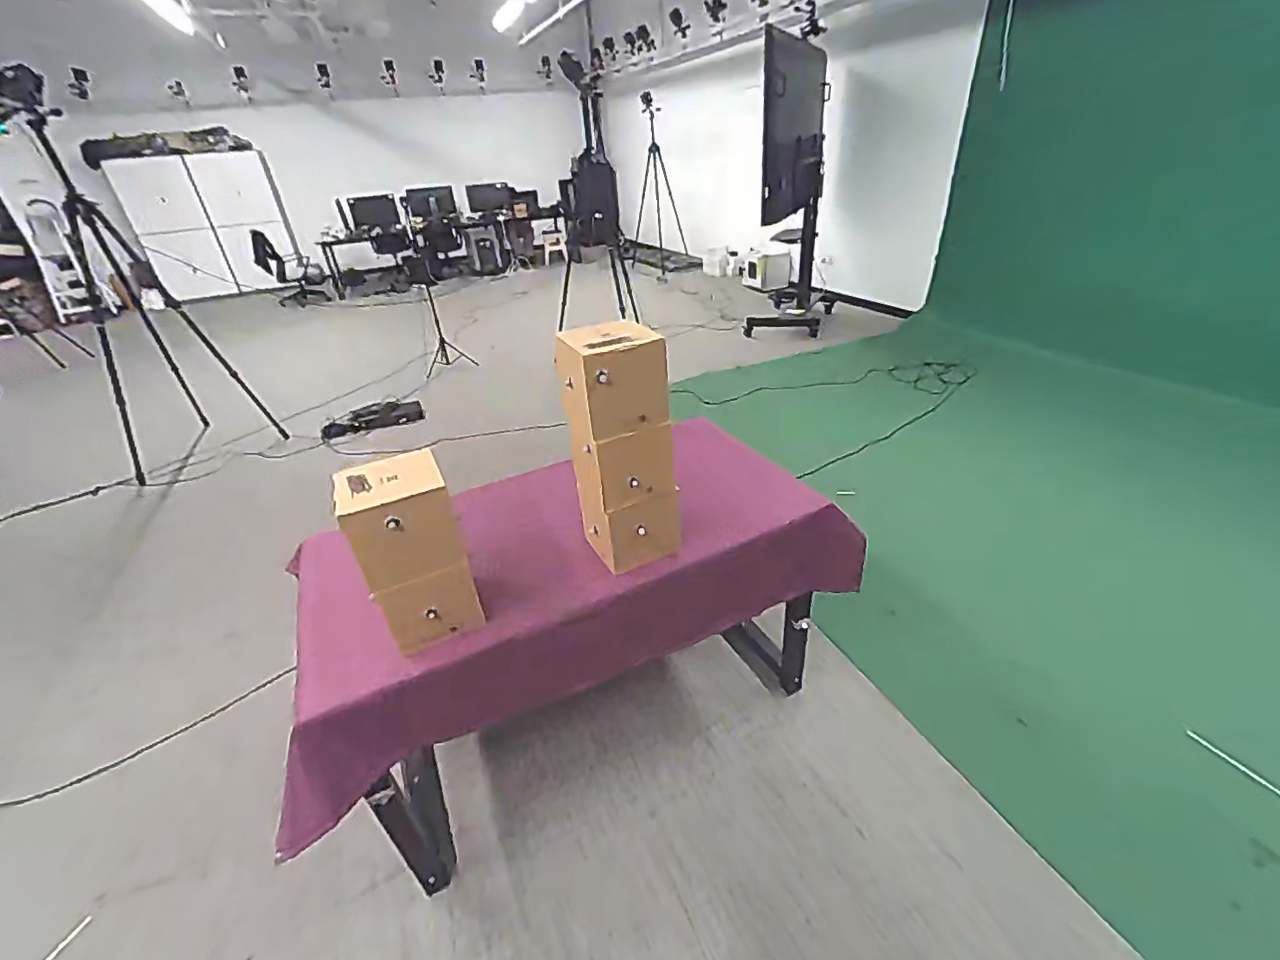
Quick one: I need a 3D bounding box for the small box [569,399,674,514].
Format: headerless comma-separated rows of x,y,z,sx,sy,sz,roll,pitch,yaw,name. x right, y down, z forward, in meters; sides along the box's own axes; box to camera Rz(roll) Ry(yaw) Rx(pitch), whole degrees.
-0.040,-0.052,1.150,0.168,0.176,0.179,-18,34,-20,small box

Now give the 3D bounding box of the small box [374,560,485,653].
-0.422,0.218,1.081,0.168,0.176,0.179,-18,33,-21,small box

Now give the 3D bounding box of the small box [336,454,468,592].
-0.436,0.078,0.995,0.179,0.176,0.168,-18,34,-21,small box

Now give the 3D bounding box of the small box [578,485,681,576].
-0.020,0.089,1.230,0.179,0.176,0.168,-20,34,-21,small box
